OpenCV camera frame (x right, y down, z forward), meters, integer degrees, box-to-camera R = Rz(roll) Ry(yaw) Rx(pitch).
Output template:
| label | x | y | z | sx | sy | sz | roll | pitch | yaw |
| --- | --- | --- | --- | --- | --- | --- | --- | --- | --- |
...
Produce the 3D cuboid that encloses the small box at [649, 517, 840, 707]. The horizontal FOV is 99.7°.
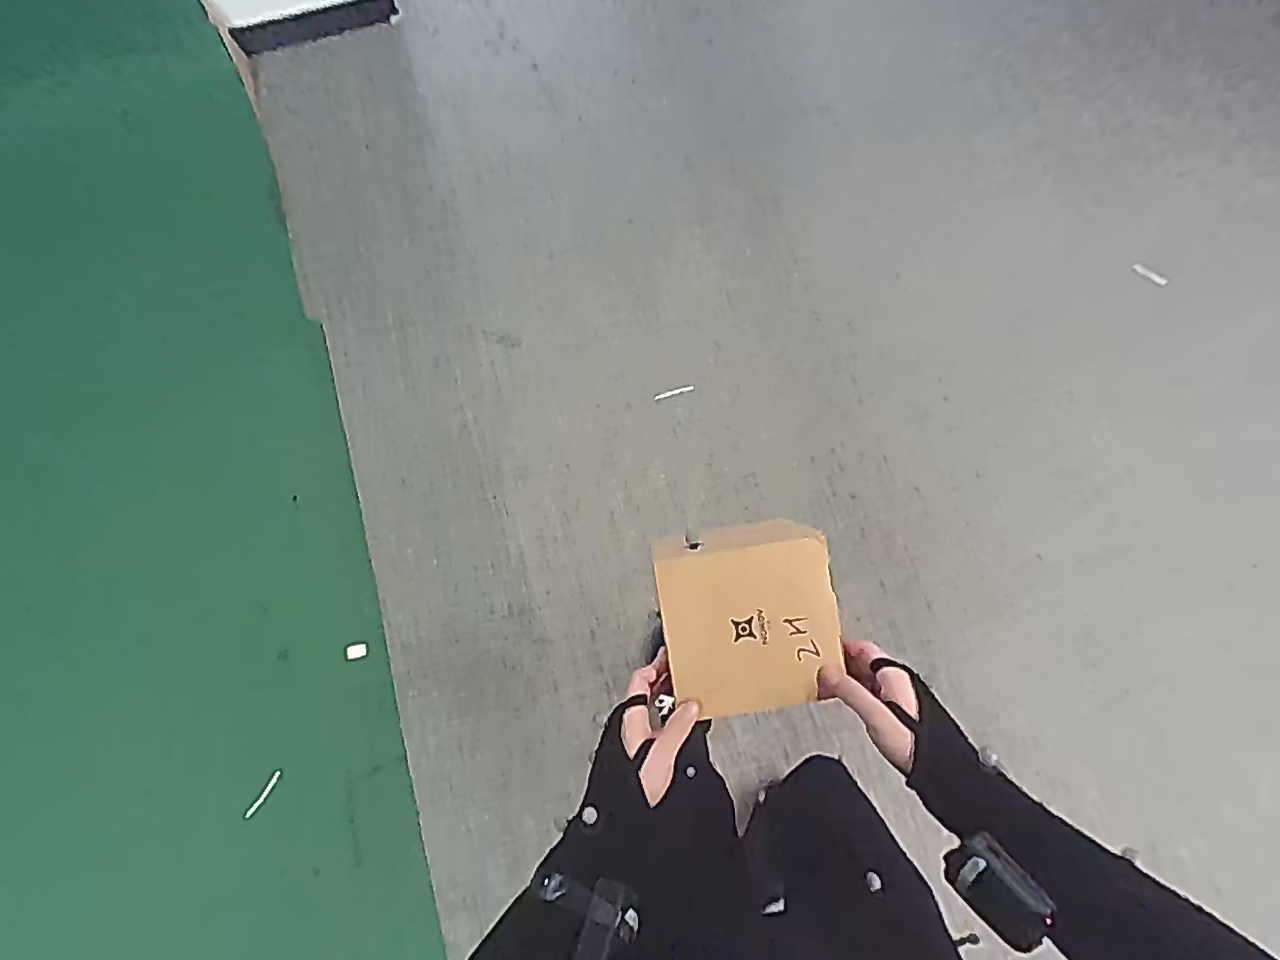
| label | x | y | z | sx | sy | sz | roll | pitch | yaw |
| --- | --- | --- | --- | --- | --- | --- | --- | --- | --- |
| small box | 0.108 | 0.140 | 0.630 | 0.179 | 0.176 | 0.168 | -9 | 91 | 0 |
